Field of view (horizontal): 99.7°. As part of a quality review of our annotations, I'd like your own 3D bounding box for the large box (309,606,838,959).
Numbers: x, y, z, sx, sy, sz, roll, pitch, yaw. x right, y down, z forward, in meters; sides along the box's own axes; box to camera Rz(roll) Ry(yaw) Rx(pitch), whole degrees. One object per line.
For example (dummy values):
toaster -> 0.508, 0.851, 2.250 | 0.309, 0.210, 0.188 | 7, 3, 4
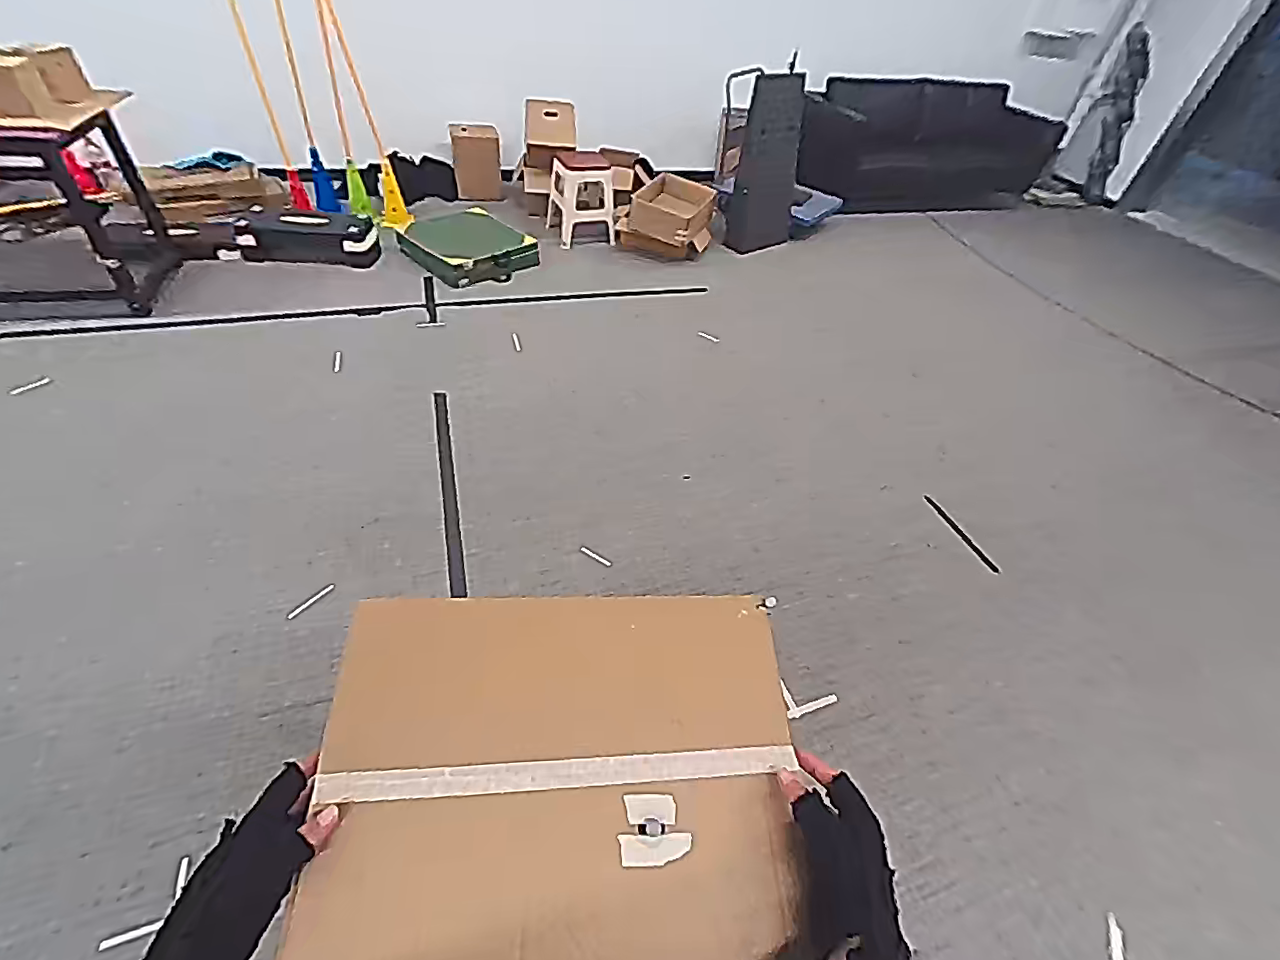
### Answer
large box -> -0.070, 0.341, 0.594 | 0.408, 0.320, 0.320 | 2, 57, -9
